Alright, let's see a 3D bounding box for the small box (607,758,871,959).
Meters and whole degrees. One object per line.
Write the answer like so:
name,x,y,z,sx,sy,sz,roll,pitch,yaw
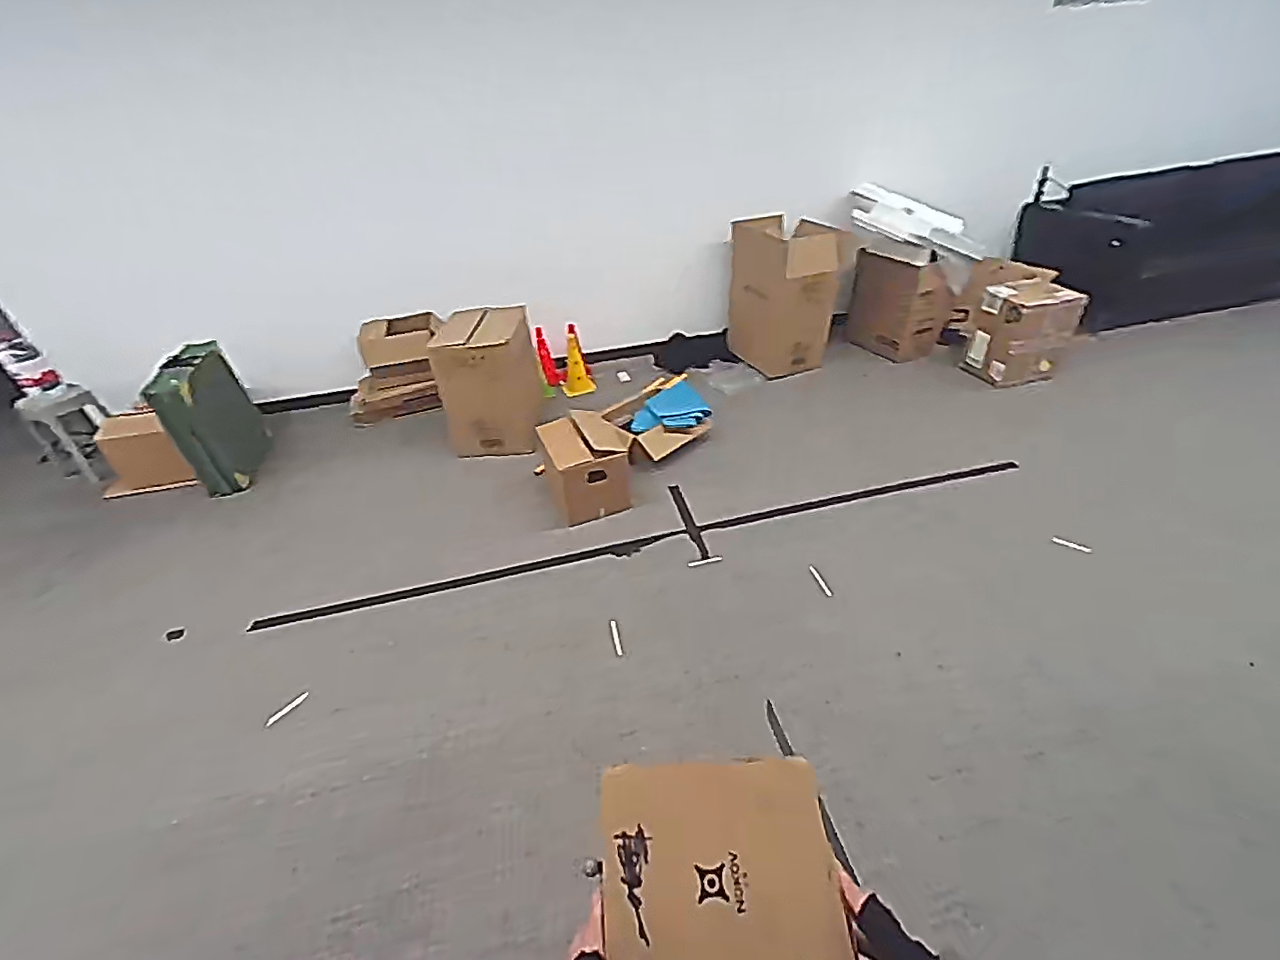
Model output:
small box,0.063,0.343,0.447,0.179,0.176,0.168,1,46,-4
